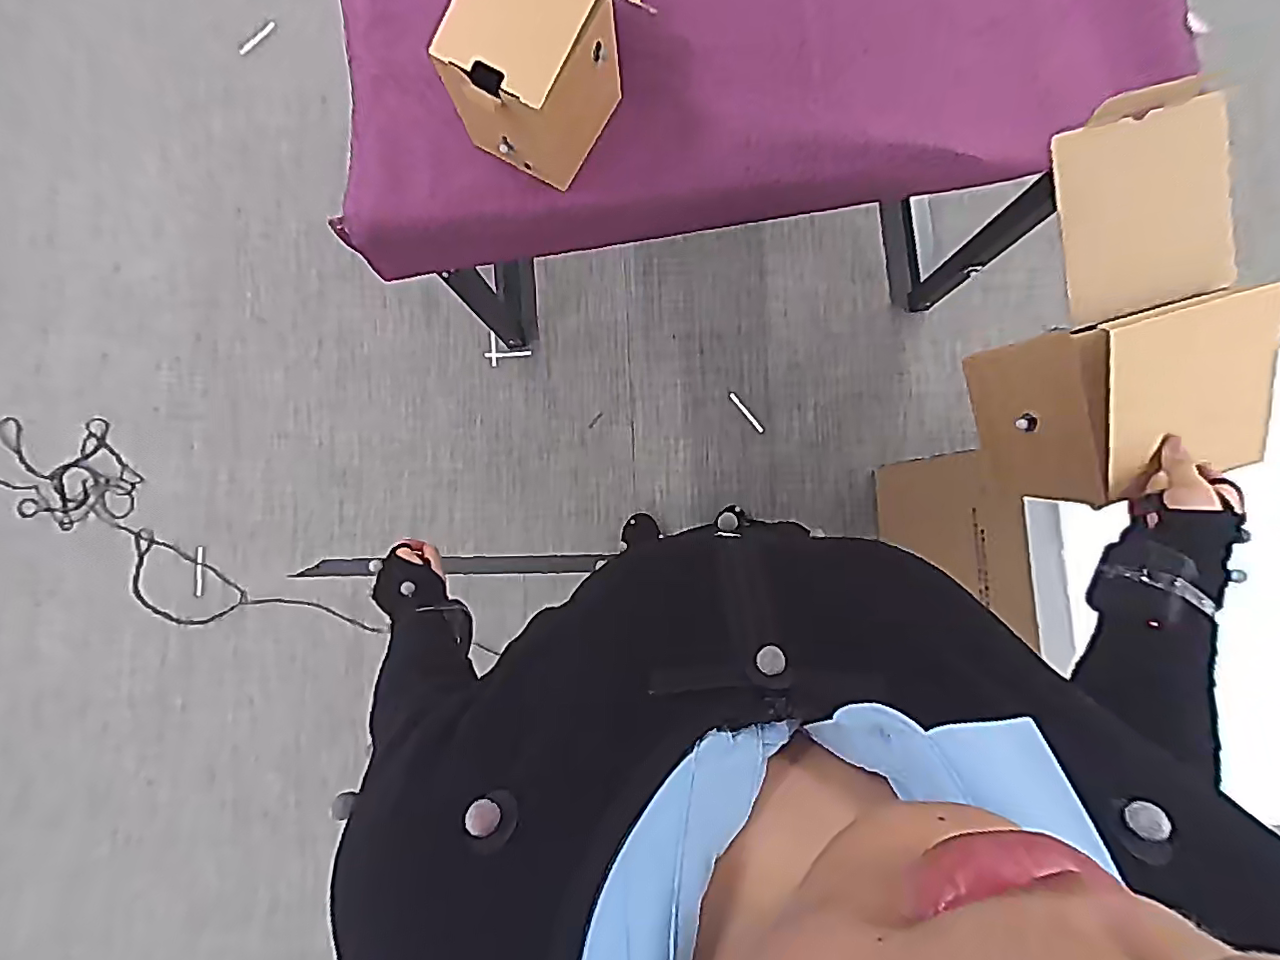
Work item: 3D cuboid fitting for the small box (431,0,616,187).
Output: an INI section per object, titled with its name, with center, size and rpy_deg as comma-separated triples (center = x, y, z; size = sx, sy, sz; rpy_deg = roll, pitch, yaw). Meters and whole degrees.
[small box]
center = -0.144, -0.556, 0.744
size = 0.168, 0.176, 0.179
rpy_deg = 30, 88, 5
